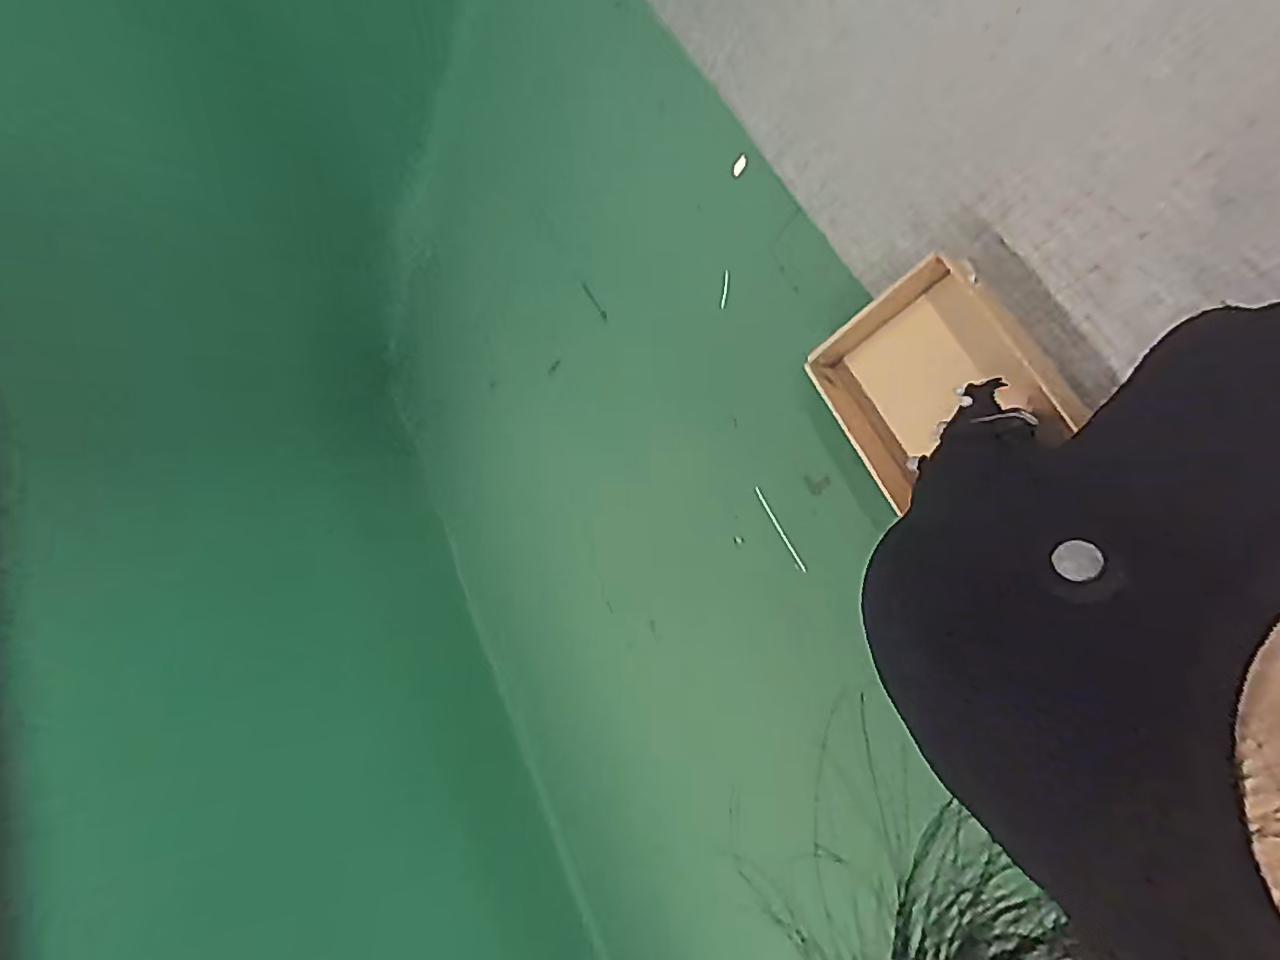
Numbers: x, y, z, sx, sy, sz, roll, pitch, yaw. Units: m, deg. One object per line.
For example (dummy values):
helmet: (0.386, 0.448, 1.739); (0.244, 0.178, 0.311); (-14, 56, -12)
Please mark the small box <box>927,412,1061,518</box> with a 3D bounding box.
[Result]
small box: (0.782, -0.038, 1.191); (0.168, 0.176, 0.179); (-42, 66, 41)
